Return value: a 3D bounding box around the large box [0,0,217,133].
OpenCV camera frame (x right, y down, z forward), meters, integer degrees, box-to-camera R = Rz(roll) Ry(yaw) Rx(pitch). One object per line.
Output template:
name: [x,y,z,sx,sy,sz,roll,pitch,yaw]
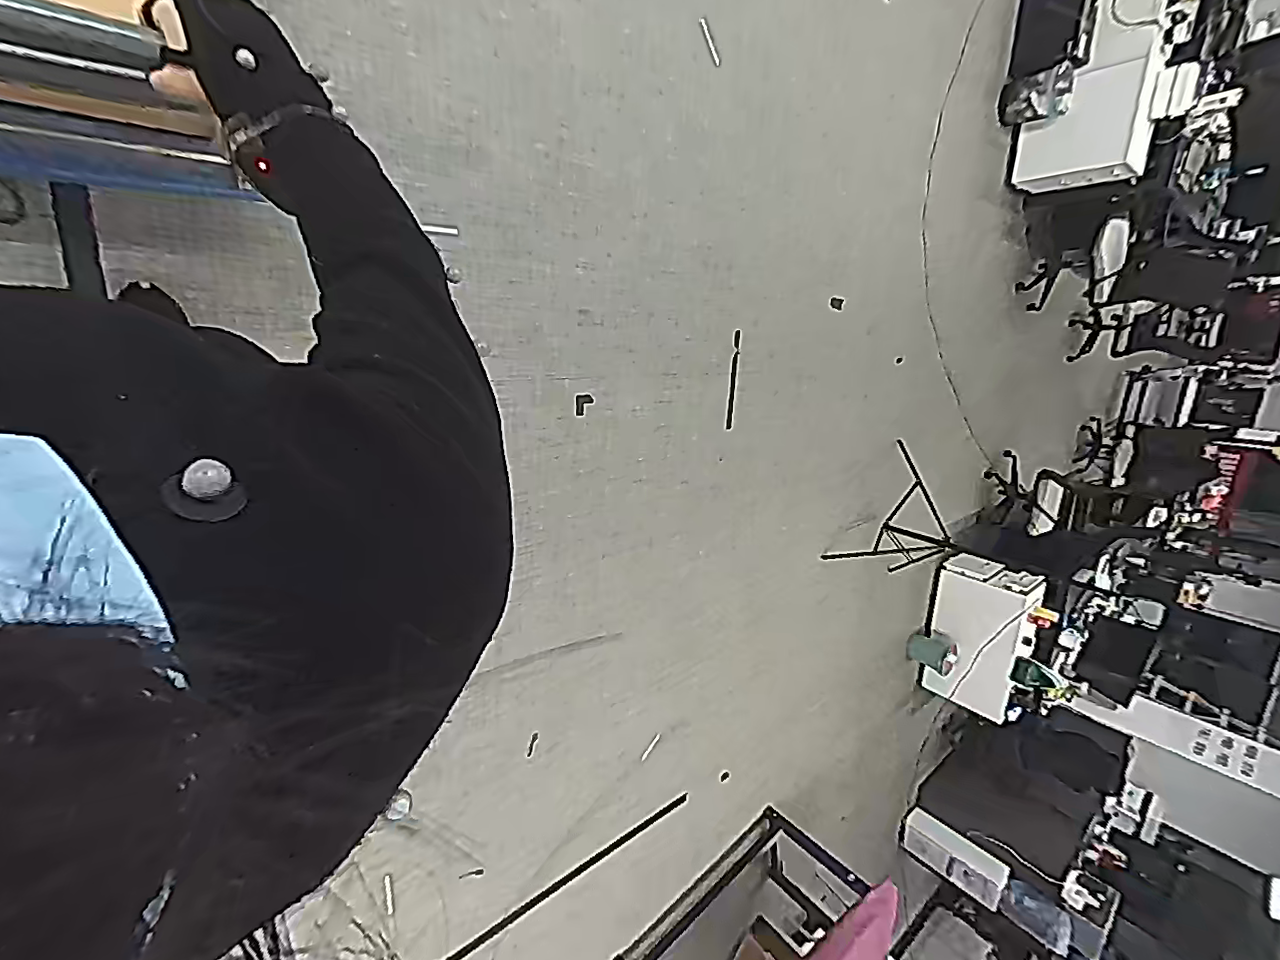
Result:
large box: [-0.816,-0.680,0.670,0.408,0.320,0.320,-13,112,-39]
